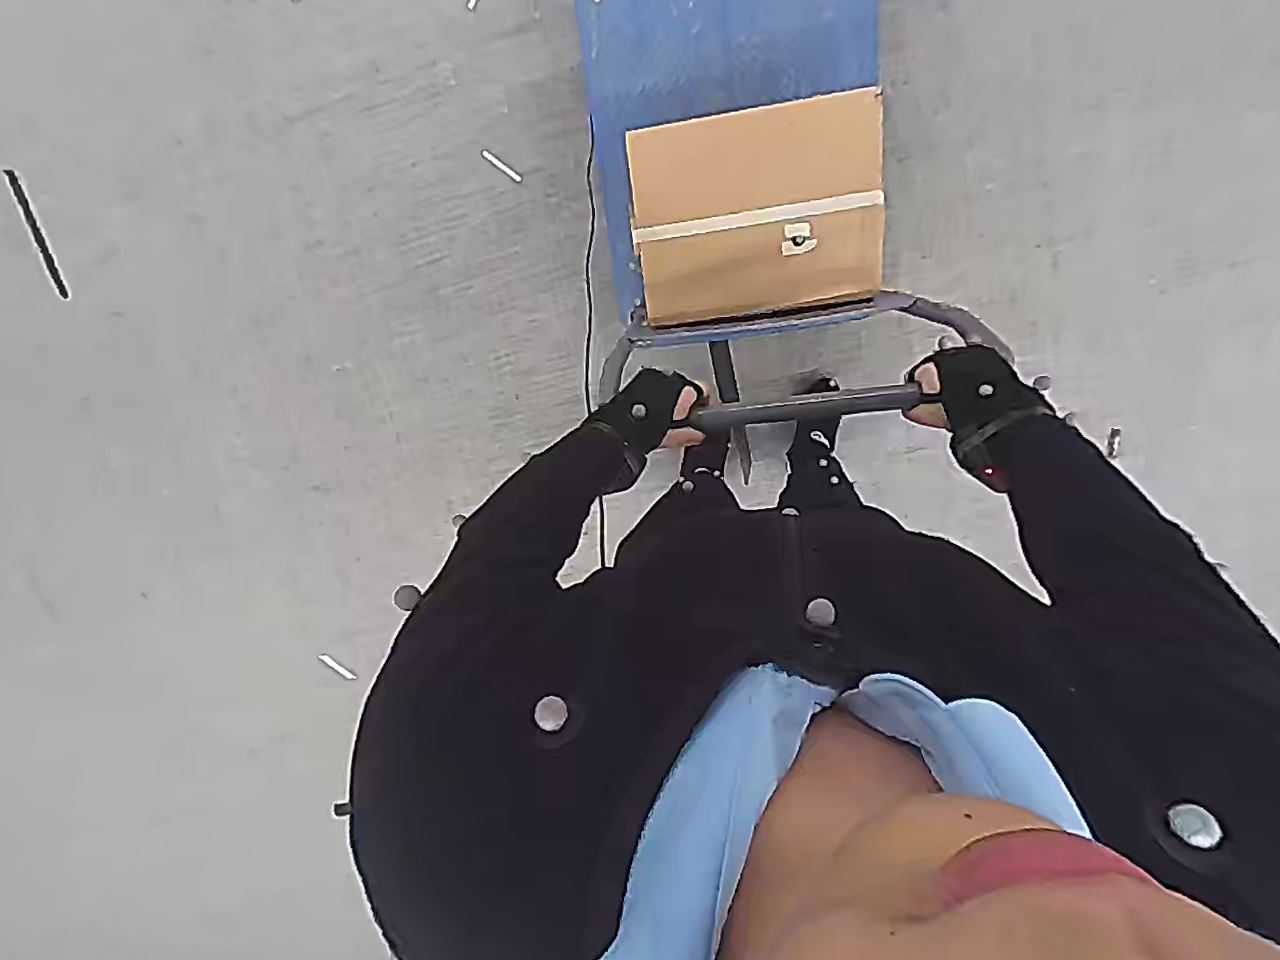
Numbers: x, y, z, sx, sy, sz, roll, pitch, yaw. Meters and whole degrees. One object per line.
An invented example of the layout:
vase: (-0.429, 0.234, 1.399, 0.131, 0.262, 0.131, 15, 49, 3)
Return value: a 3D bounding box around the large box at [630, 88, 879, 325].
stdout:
large box: (0.209, -0.499, 1.061, 0.408, 0.320, 0.320, -6, 110, 7)
